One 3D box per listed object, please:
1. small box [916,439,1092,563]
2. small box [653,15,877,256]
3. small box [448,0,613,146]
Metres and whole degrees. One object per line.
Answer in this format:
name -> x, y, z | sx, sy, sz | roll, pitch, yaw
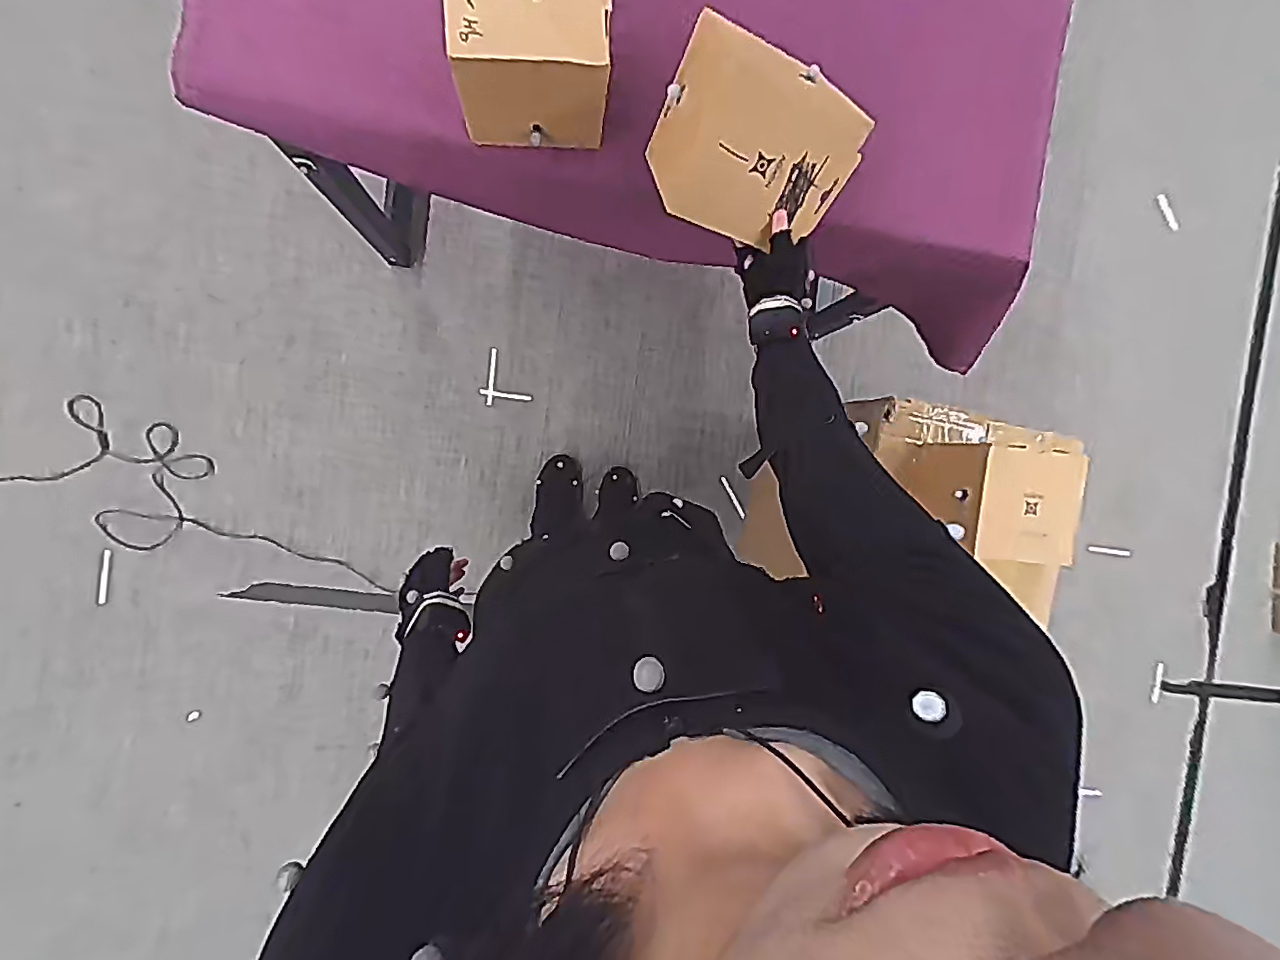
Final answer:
small box -> 0.583, 0.028, 0.888 | 0.168, 0.176, 0.179 | 5, 94, -5
small box -> 0.135, -0.409, 0.647 | 0.179, 0.168, 0.176 | 10, 47, -24
small box -> -0.132, -0.537, 0.659 | 0.179, 0.176, 0.168 | -3, 92, -9
